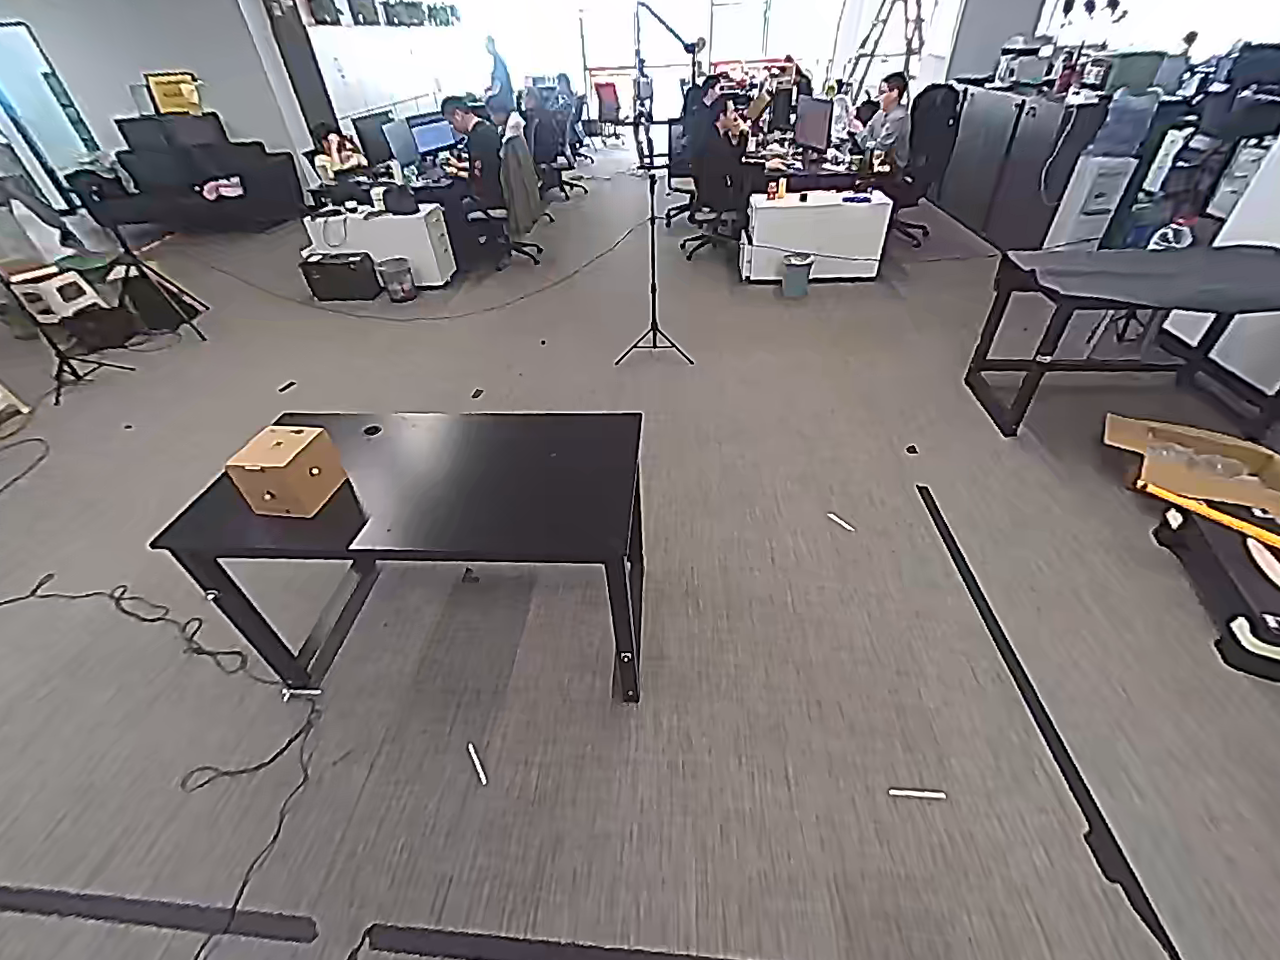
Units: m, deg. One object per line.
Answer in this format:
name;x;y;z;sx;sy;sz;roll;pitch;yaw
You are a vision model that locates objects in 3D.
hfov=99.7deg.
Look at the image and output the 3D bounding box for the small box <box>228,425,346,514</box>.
small box;-0.915;-0.027;1.424;0.168;0.176;0.179;3;40;8
